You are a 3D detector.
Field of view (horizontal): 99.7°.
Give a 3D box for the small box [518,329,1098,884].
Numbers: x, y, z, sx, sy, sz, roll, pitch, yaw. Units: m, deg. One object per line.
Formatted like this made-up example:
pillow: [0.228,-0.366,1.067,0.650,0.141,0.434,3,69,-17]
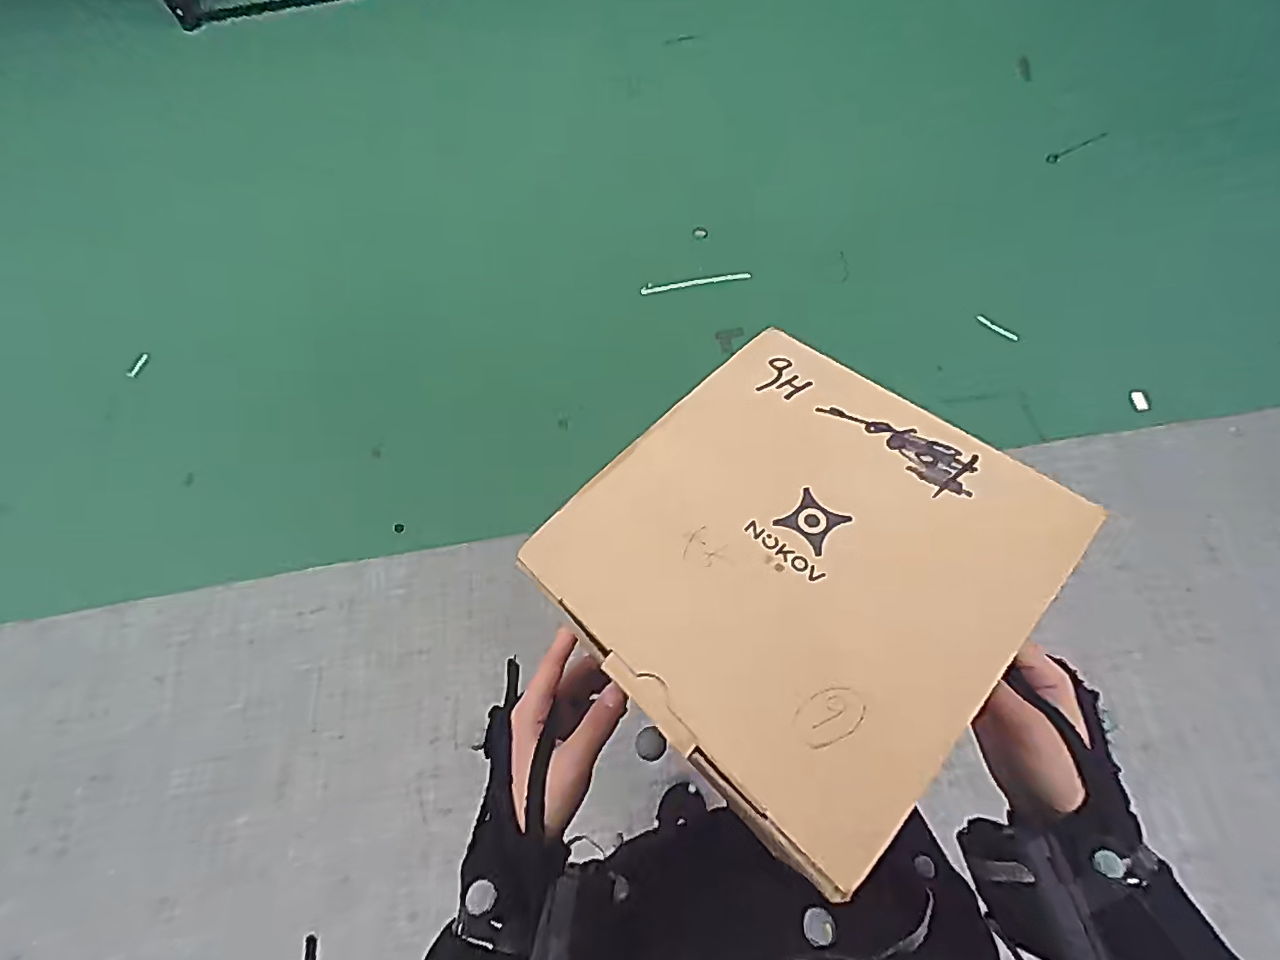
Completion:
small box: [0.073,0.063,0.288,0.179,0.176,0.168,-42,63,-16]
